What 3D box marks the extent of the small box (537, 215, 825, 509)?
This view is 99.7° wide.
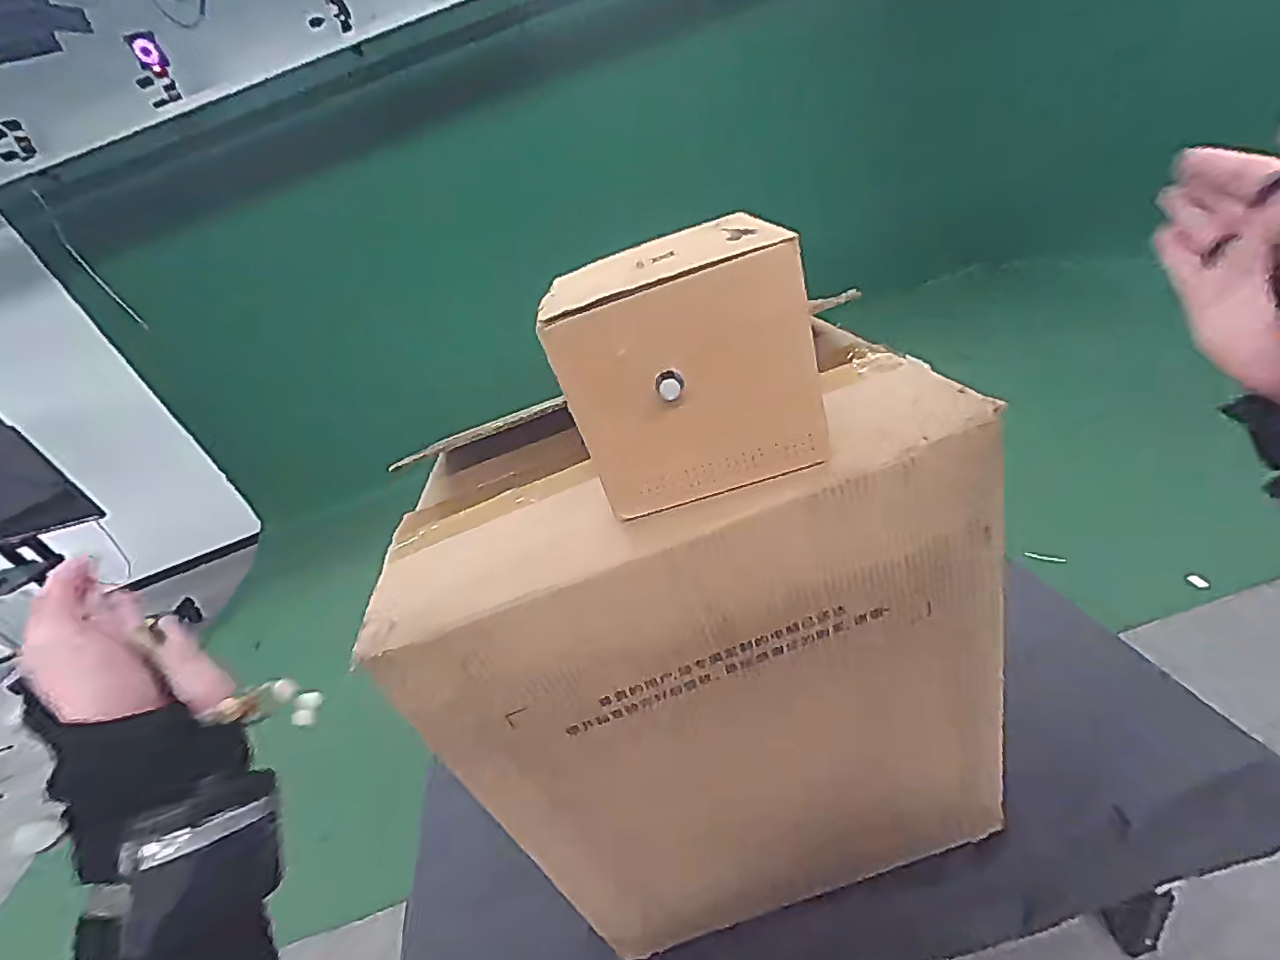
[{"bbox_3d":[0.035,-0.099,0.454,0.179,0.176,0.168,-17,31,7],"label":"small box"}]
